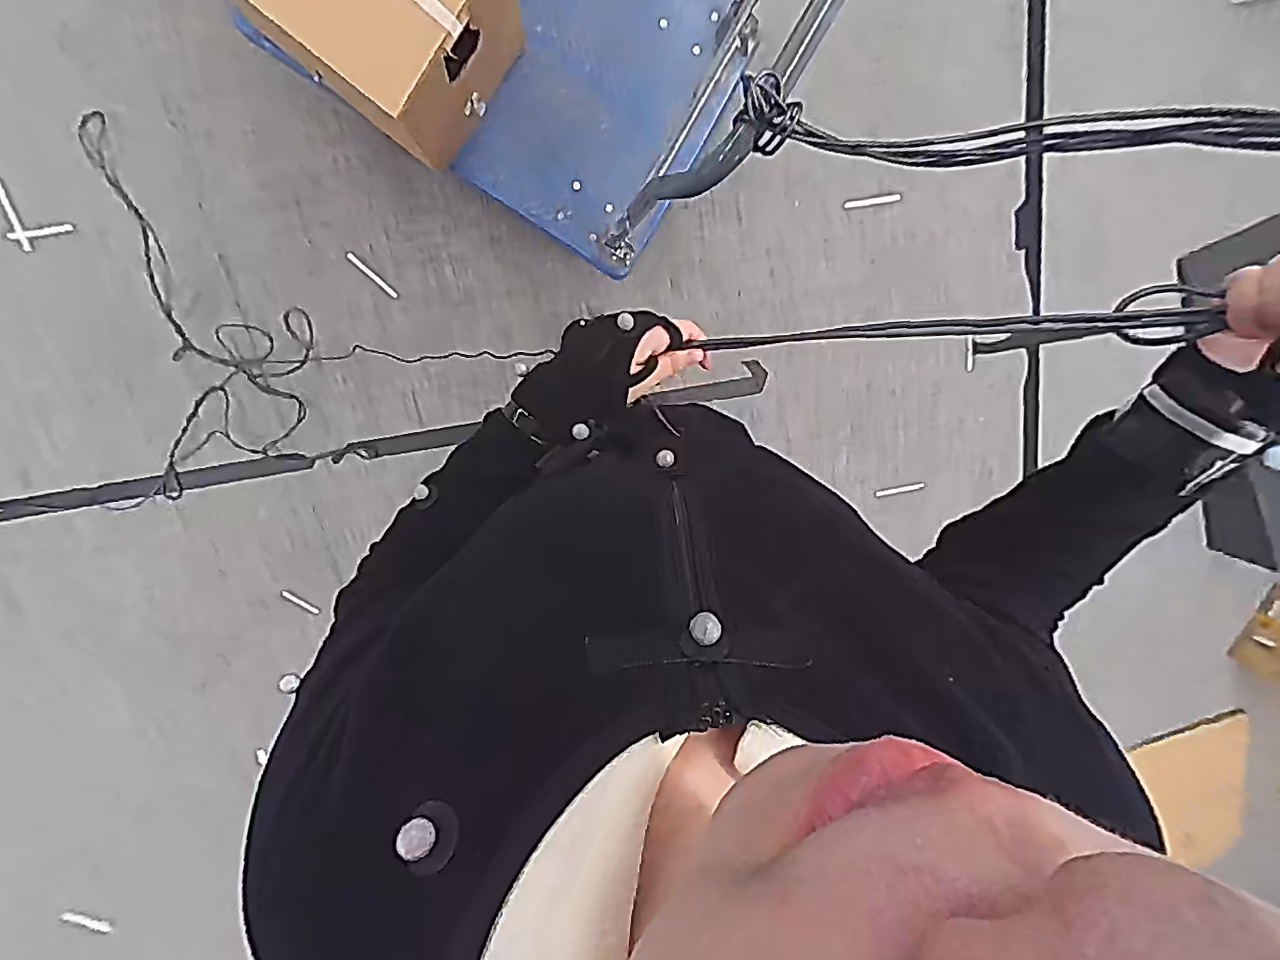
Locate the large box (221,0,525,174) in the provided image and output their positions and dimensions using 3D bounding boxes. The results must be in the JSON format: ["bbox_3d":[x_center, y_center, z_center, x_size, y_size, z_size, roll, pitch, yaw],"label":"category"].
[{"bbox_3d":[-0.451,-0.805,0.893,0.408,0.320,0.320,35,97,-14],"label":"large box"}]
